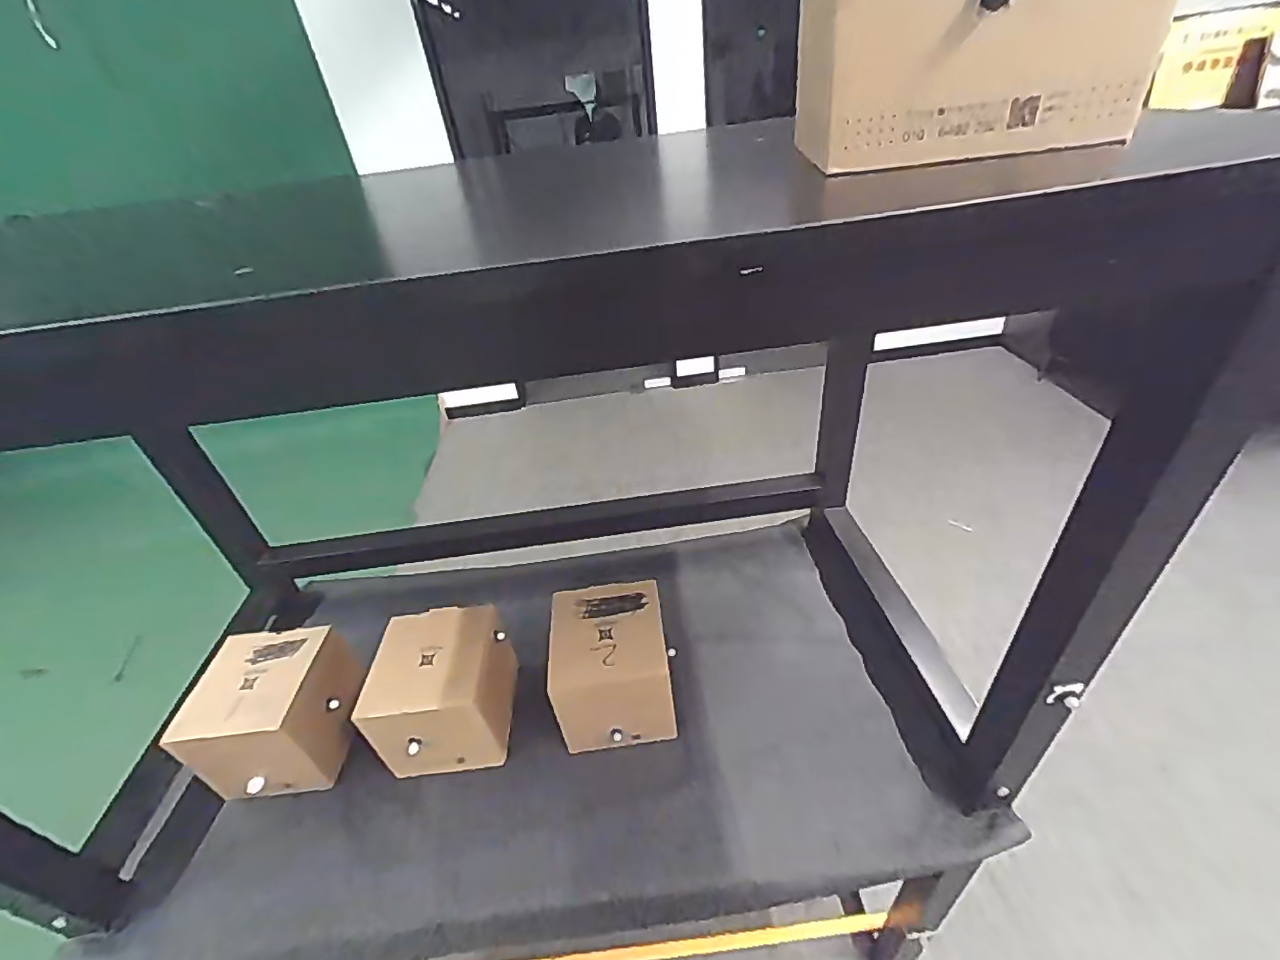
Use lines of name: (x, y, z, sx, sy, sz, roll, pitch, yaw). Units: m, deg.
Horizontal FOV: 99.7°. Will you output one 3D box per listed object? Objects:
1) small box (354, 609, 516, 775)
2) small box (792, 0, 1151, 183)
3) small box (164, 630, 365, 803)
small box: (-0.296, 0.328, 0.829, 0.168, 0.176, 0.179, -7, 35, 0)
small box: (0.191, -0.296, 0.342, 0.168, 0.176, 0.179, -1, 36, 9)
small box: (-0.547, 0.359, 0.827, 0.168, 0.176, 0.179, -7, 36, 1)
